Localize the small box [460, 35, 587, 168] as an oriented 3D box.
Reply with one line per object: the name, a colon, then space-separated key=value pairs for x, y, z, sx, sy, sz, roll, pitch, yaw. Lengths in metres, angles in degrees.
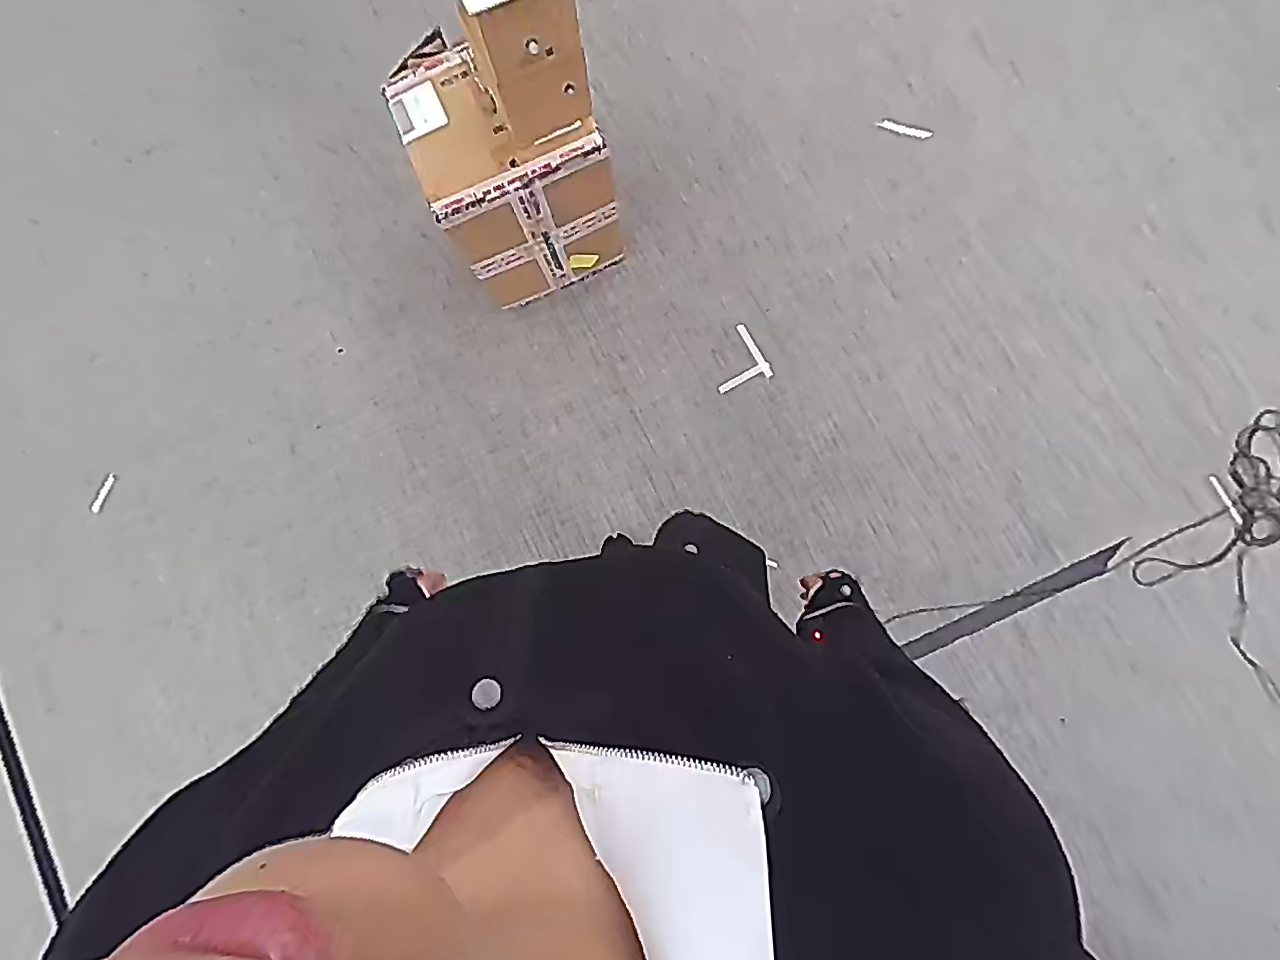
small box: x=-0.215 y=-0.761 z=1.055 sx=0.179 sy=0.176 sz=0.168 roll=-28 pitch=84 yaw=-1

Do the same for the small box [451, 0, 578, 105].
small box: x=-0.215 y=-0.778 z=0.892 sx=0.168 sy=0.176 sz=0.179 roll=-25 pitch=86 yaw=-1
